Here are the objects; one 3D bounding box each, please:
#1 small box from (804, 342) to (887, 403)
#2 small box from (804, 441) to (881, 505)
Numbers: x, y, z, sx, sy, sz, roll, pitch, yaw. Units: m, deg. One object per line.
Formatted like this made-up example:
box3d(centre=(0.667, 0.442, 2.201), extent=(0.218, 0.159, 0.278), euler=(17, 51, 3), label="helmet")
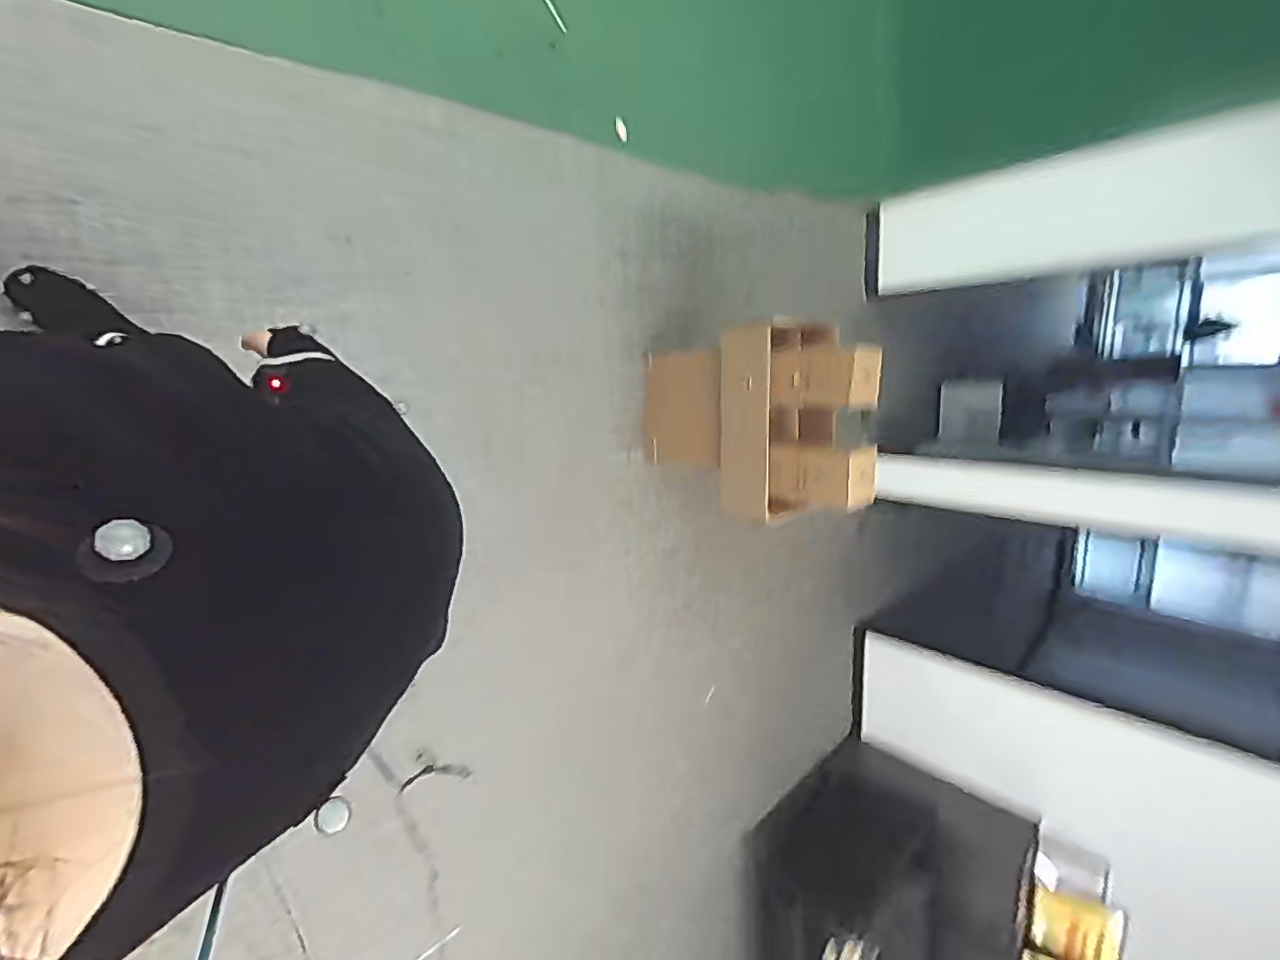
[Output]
box3d(centre=(0.609, -0.315, 1.610), extent=(0.179, 0.176, 0.168), euler=(-6, 103, -43), label="small box")
box3d(centre=(0.623, -0.026, 1.672), extent=(0.179, 0.176, 0.168), euler=(-12, 106, -41), label="small box")
